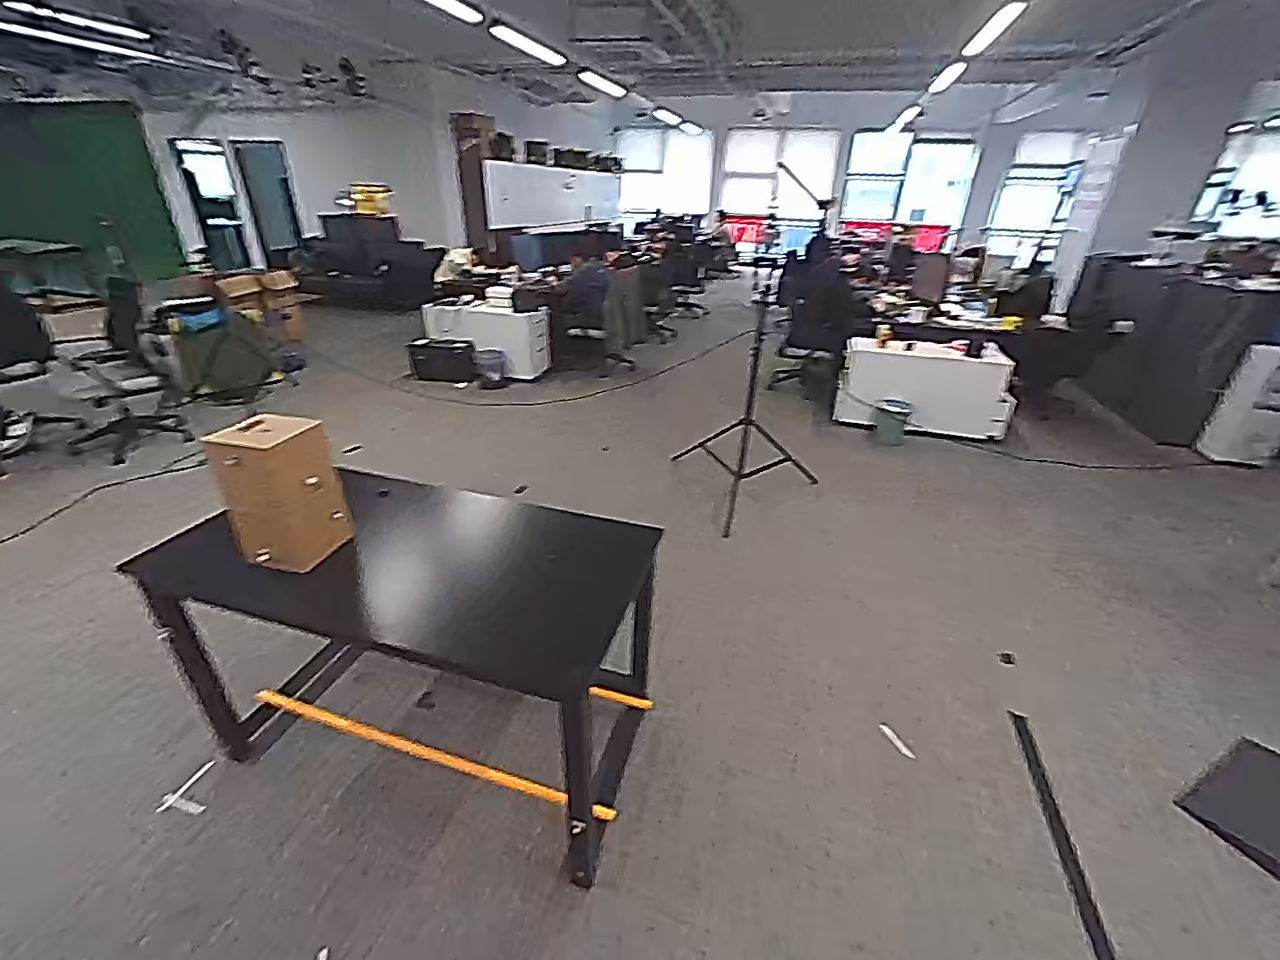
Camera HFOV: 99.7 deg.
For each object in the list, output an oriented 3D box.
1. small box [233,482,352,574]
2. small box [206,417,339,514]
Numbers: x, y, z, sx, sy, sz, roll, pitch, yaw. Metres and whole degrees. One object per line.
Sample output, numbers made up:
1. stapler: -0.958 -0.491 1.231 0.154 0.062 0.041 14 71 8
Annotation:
1. small box: -0.851 0.108 1.346 0.168 0.176 0.179 7 29 11
2. small box: -0.849 -0.036 1.266 0.179 0.176 0.168 7 28 10
